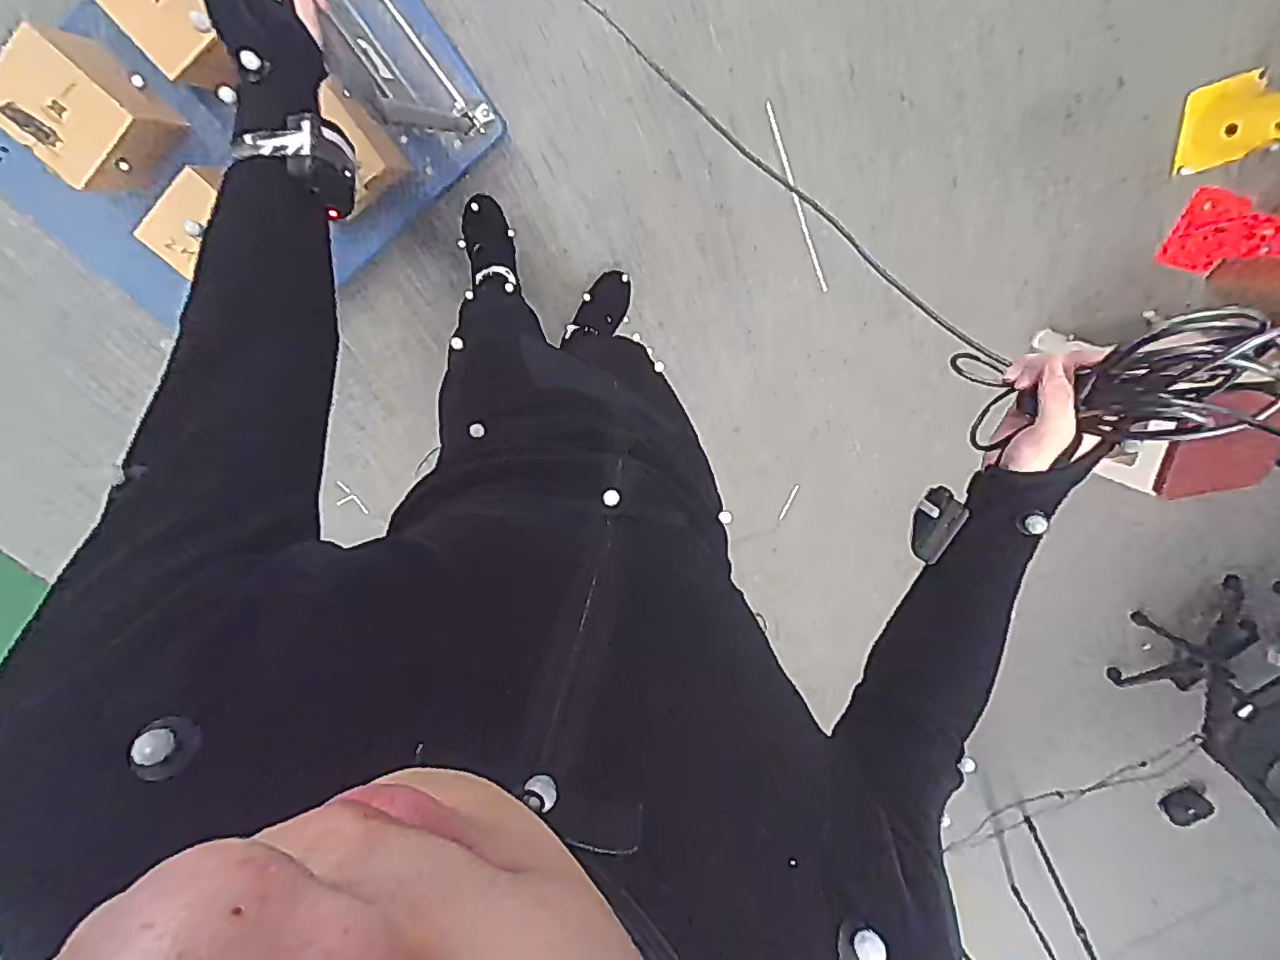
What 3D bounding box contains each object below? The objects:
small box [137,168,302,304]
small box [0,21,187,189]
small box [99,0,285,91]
[{"bbox_3d":[-0.809,-0.483,1.066,0.179,0.176,0.168,-37,116,13],"label":"small box"},{"bbox_3d":[-0.966,-0.645,0.955,0.179,0.176,0.168,-38,118,13],"label":"small box"},{"bbox_3d":[-0.747,-0.793,0.904,0.179,0.176,0.168,-33,118,11],"label":"small box"}]
